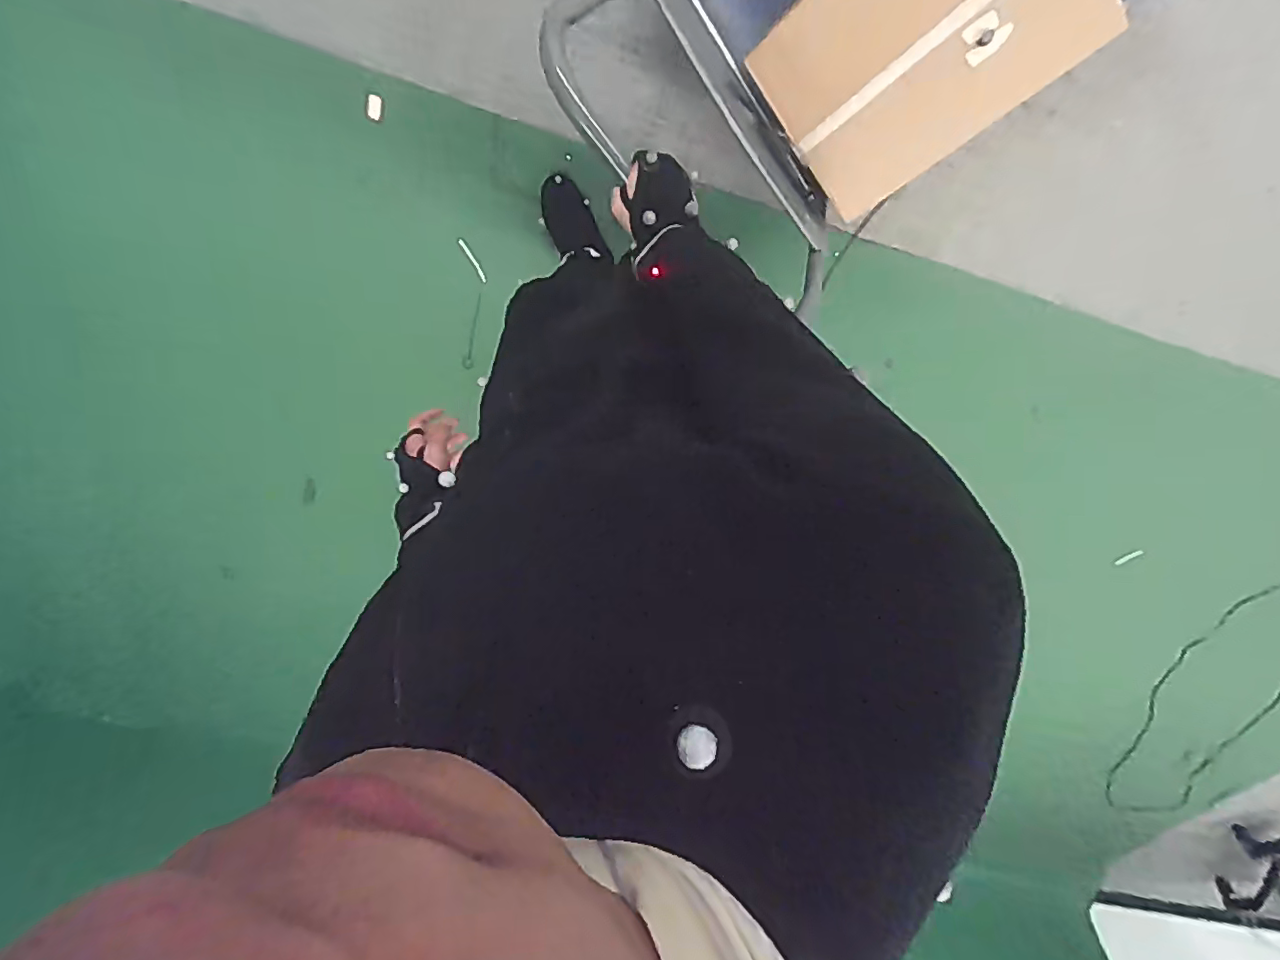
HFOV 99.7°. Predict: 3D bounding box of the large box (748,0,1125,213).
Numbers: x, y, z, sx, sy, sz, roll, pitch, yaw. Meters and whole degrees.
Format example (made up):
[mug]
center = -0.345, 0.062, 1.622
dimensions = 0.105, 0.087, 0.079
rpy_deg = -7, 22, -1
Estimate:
[large box]
center = 0.434, -0.734, 0.875
dimensions = 0.408, 0.320, 0.320
rpy_deg = -28, 120, 35
